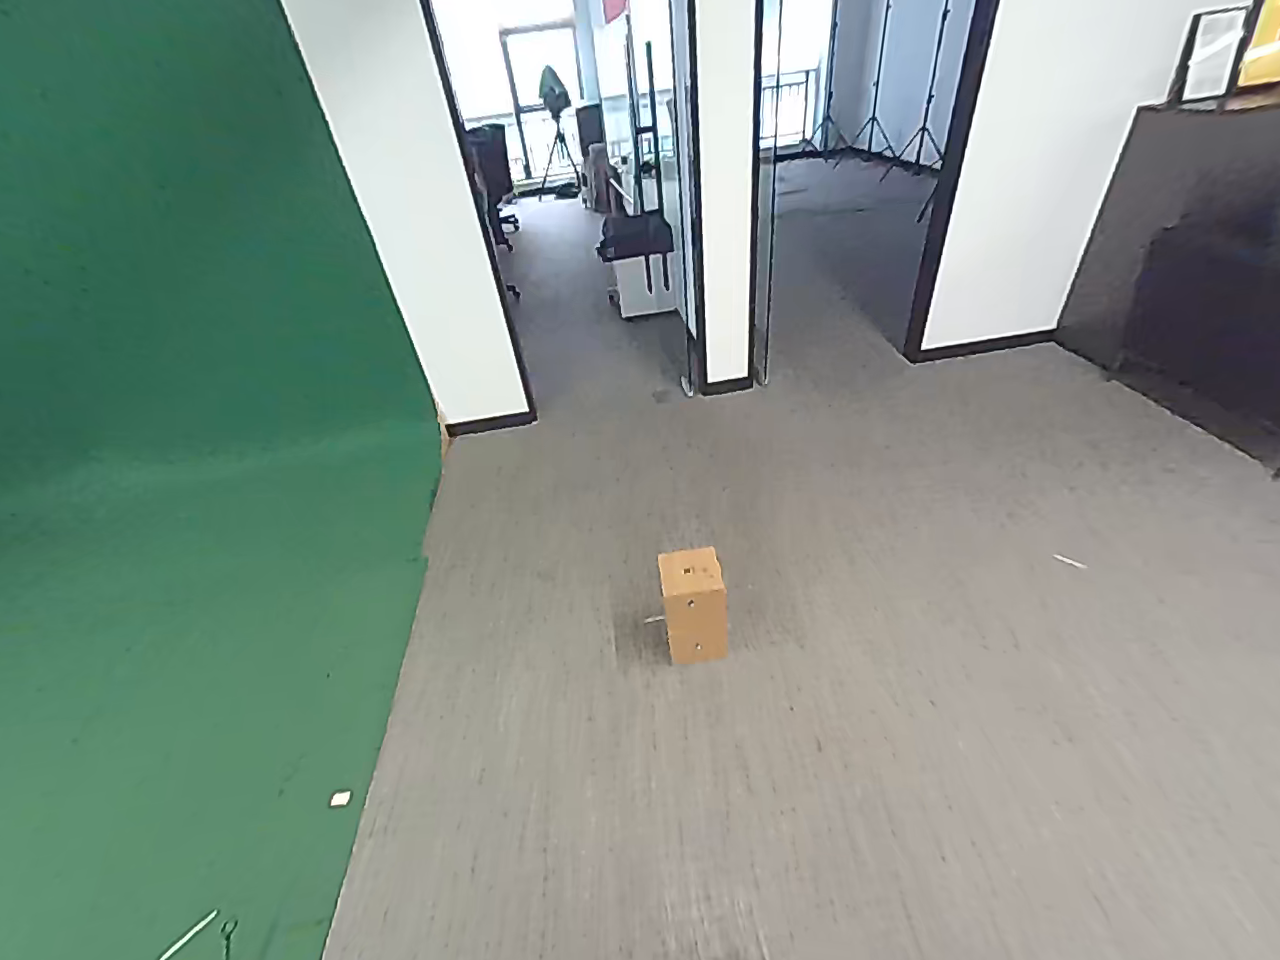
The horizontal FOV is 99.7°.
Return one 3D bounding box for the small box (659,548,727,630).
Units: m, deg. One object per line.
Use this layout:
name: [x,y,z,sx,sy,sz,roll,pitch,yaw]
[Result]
small box: [0.159,0.328,1.610,0.179,0.176,0.168,-8,38,1]
